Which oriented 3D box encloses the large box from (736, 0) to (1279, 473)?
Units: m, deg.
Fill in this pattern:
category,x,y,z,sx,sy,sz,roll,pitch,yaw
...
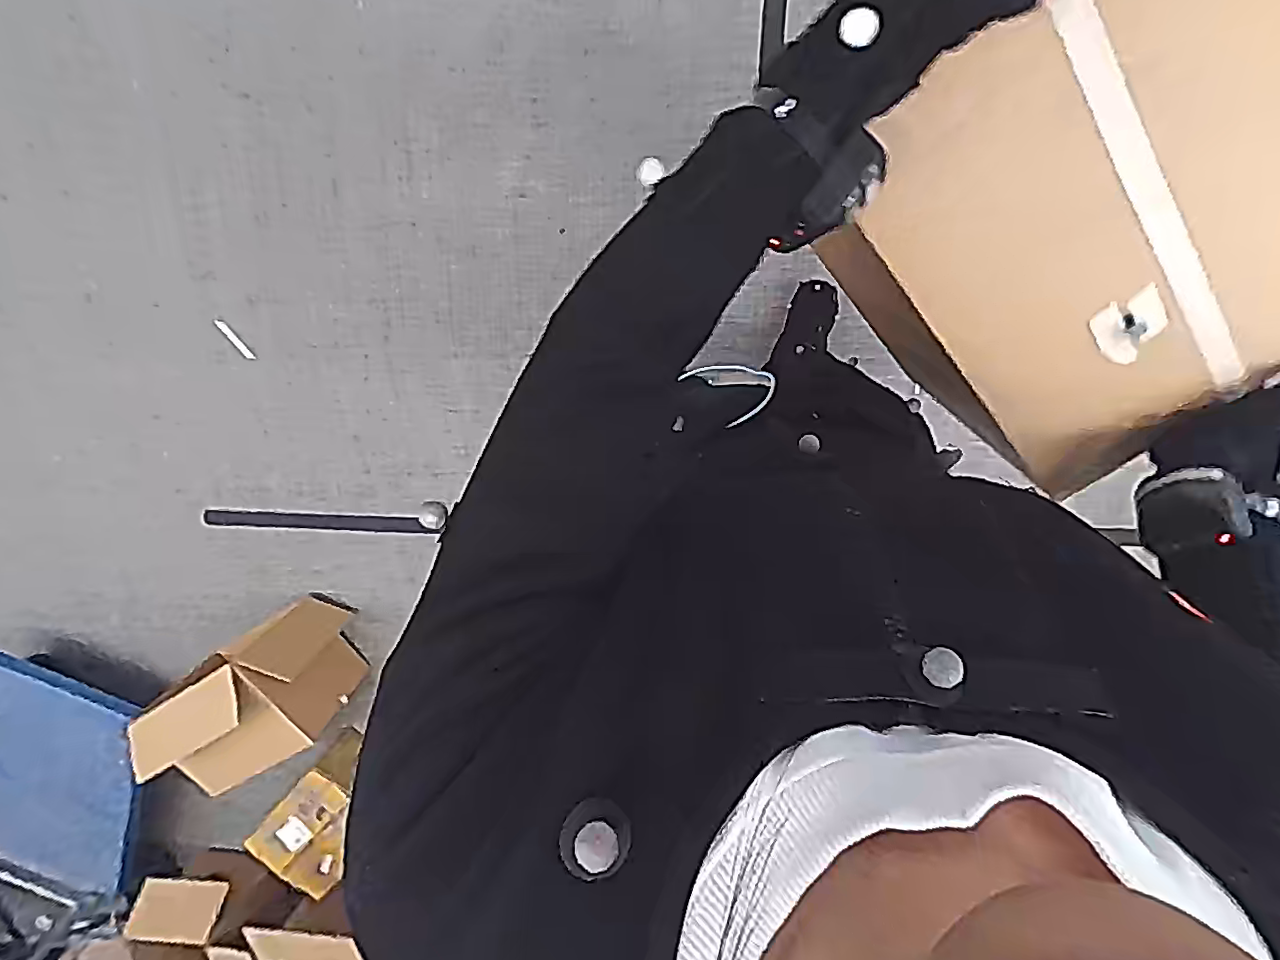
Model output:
category,x,y,z,sx,sy,sz,roll,pitch,yaw
large box,0.358,-0.290,0.526,0.408,0.320,0.320,38,114,-23
